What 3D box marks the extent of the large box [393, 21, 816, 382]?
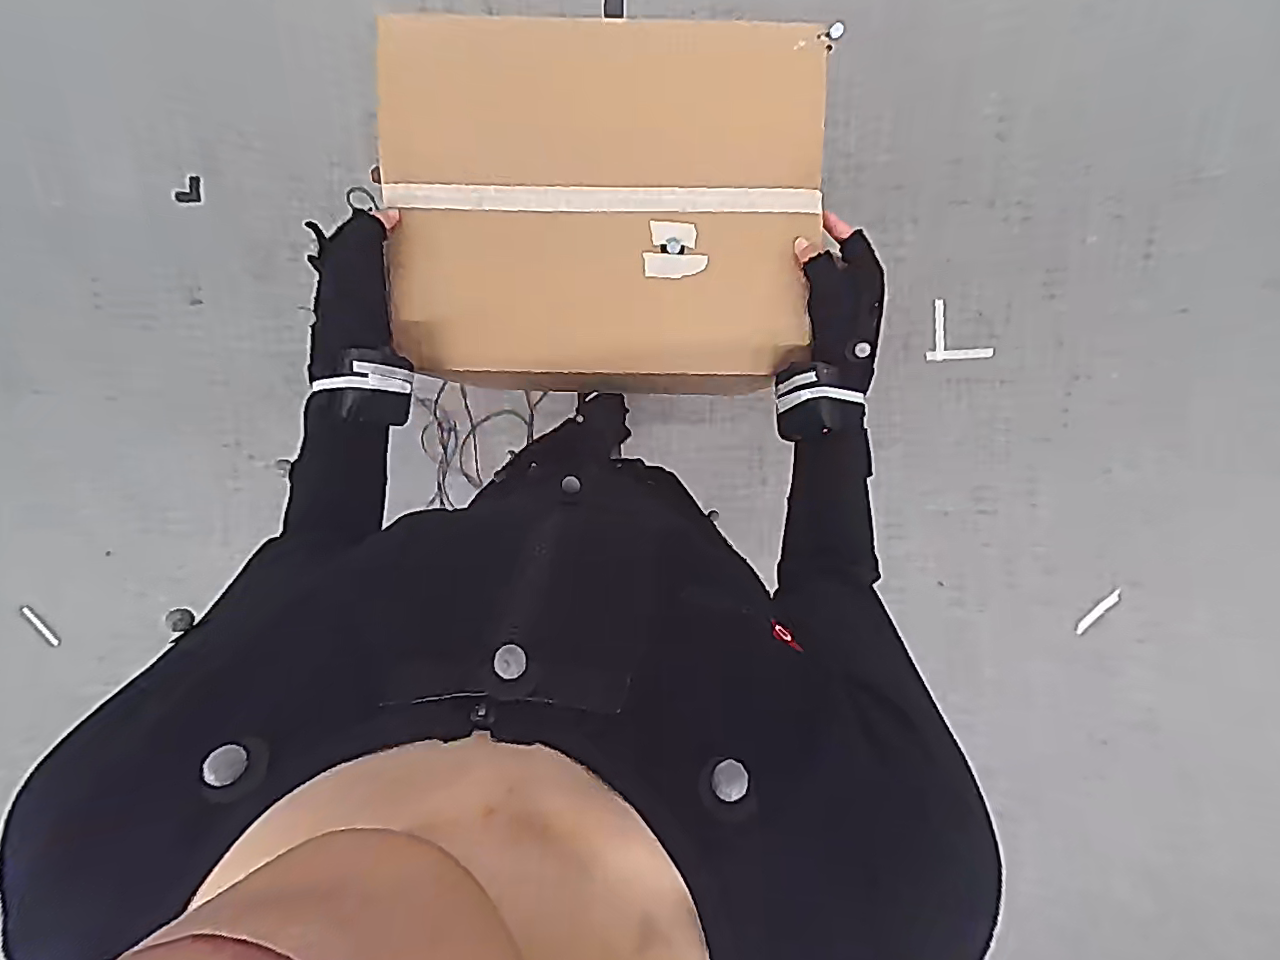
[{"bbox_3d":[-0.036,-0.291,0.668,0.408,0.320,0.320,0,97,-1],"label":"large box"}]
